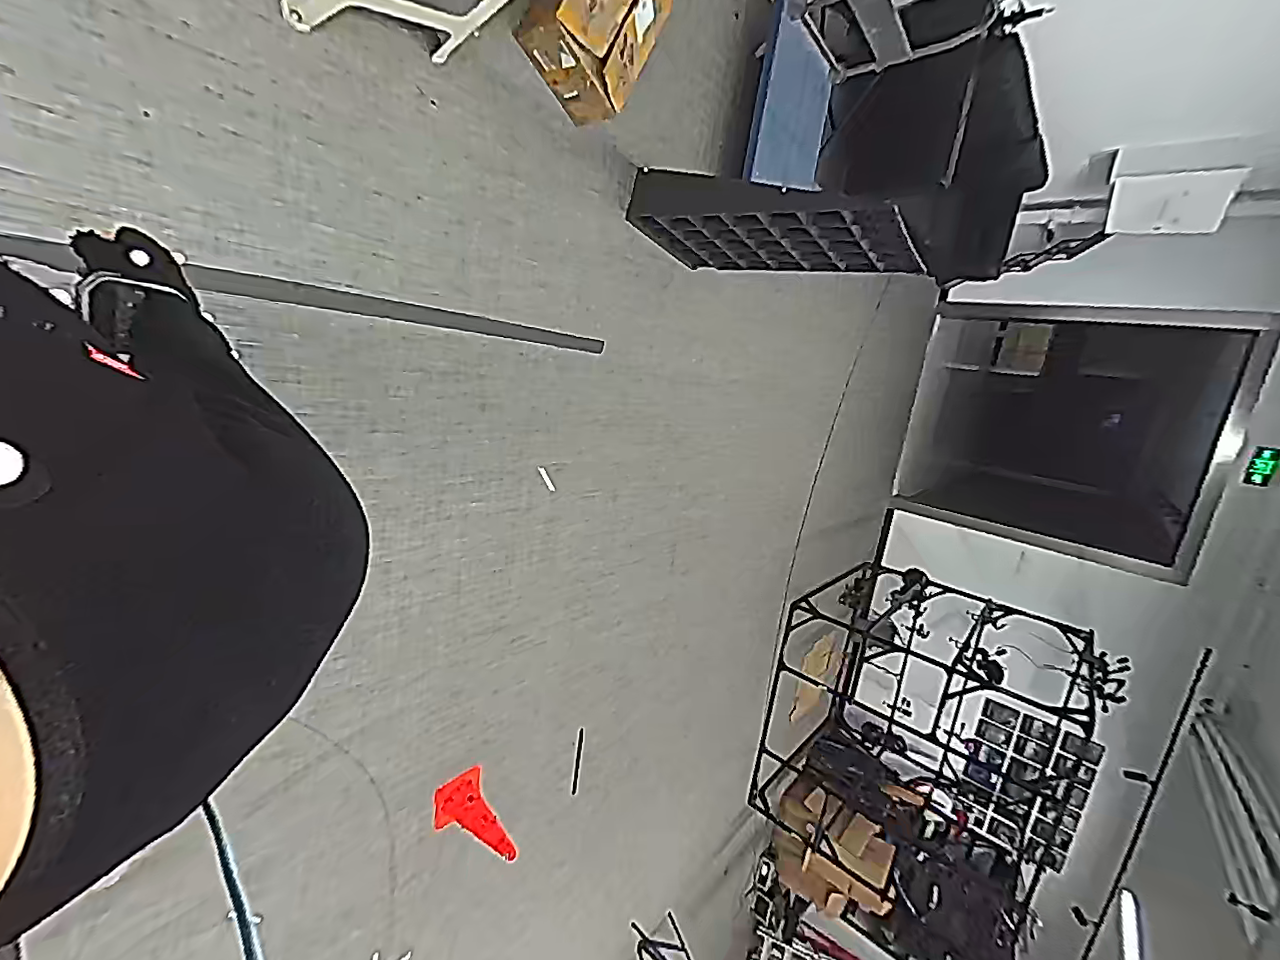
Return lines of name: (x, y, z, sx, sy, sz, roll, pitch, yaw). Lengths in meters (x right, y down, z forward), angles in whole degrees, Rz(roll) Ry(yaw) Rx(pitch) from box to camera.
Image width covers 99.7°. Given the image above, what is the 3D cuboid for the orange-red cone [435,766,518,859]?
orange-red cone: (-0.577, 1.271, 1.998, 0.198, 0.360, 0.199, -12, 112, -50)
